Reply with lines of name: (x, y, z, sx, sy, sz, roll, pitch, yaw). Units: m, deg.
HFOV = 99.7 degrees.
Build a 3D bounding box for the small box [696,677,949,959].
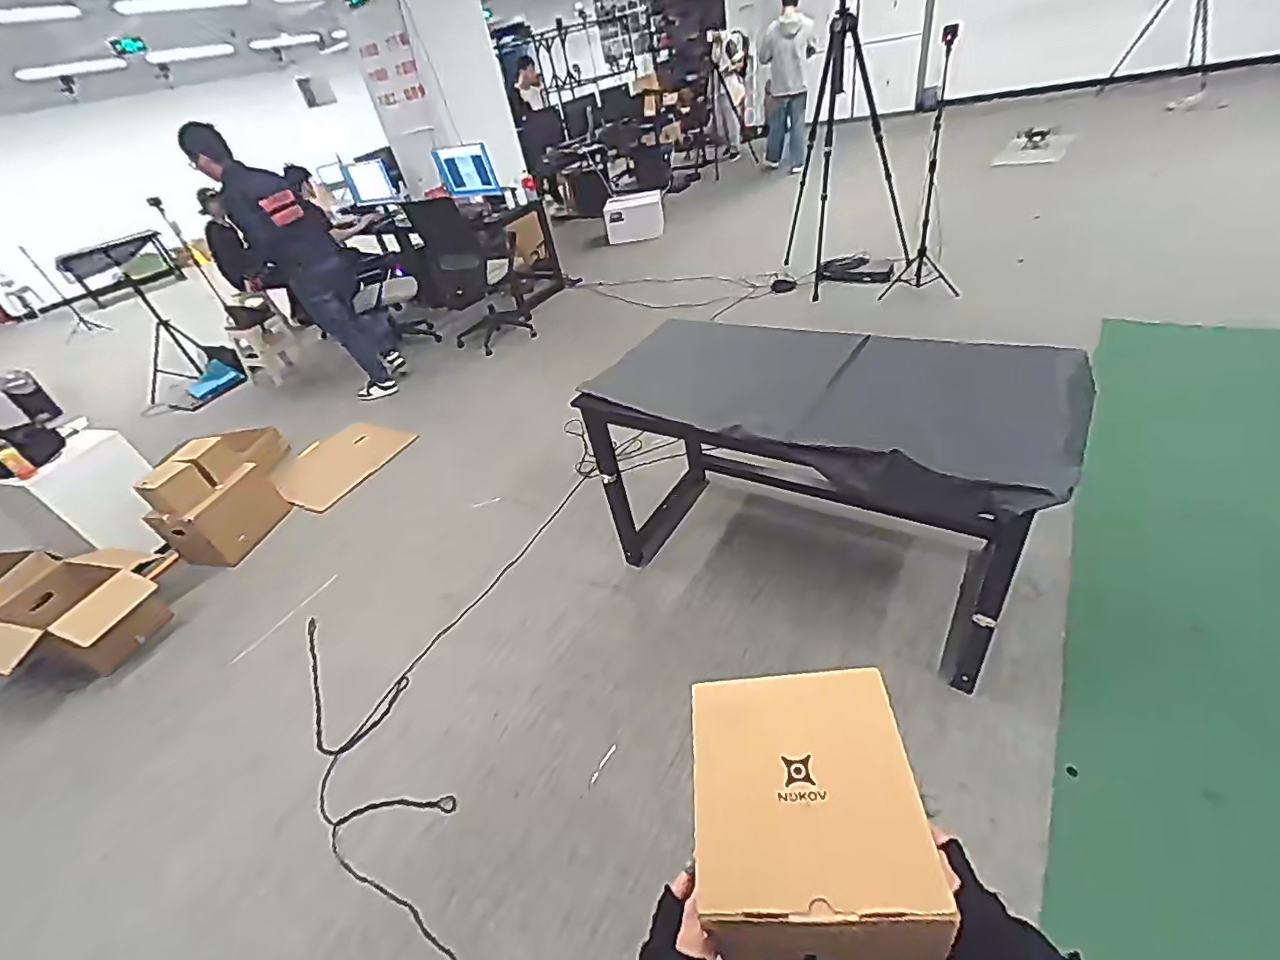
small box: (0.143, 0.301, 0.473, 0.168, 0.176, 0.179, -9, 38, 11)
